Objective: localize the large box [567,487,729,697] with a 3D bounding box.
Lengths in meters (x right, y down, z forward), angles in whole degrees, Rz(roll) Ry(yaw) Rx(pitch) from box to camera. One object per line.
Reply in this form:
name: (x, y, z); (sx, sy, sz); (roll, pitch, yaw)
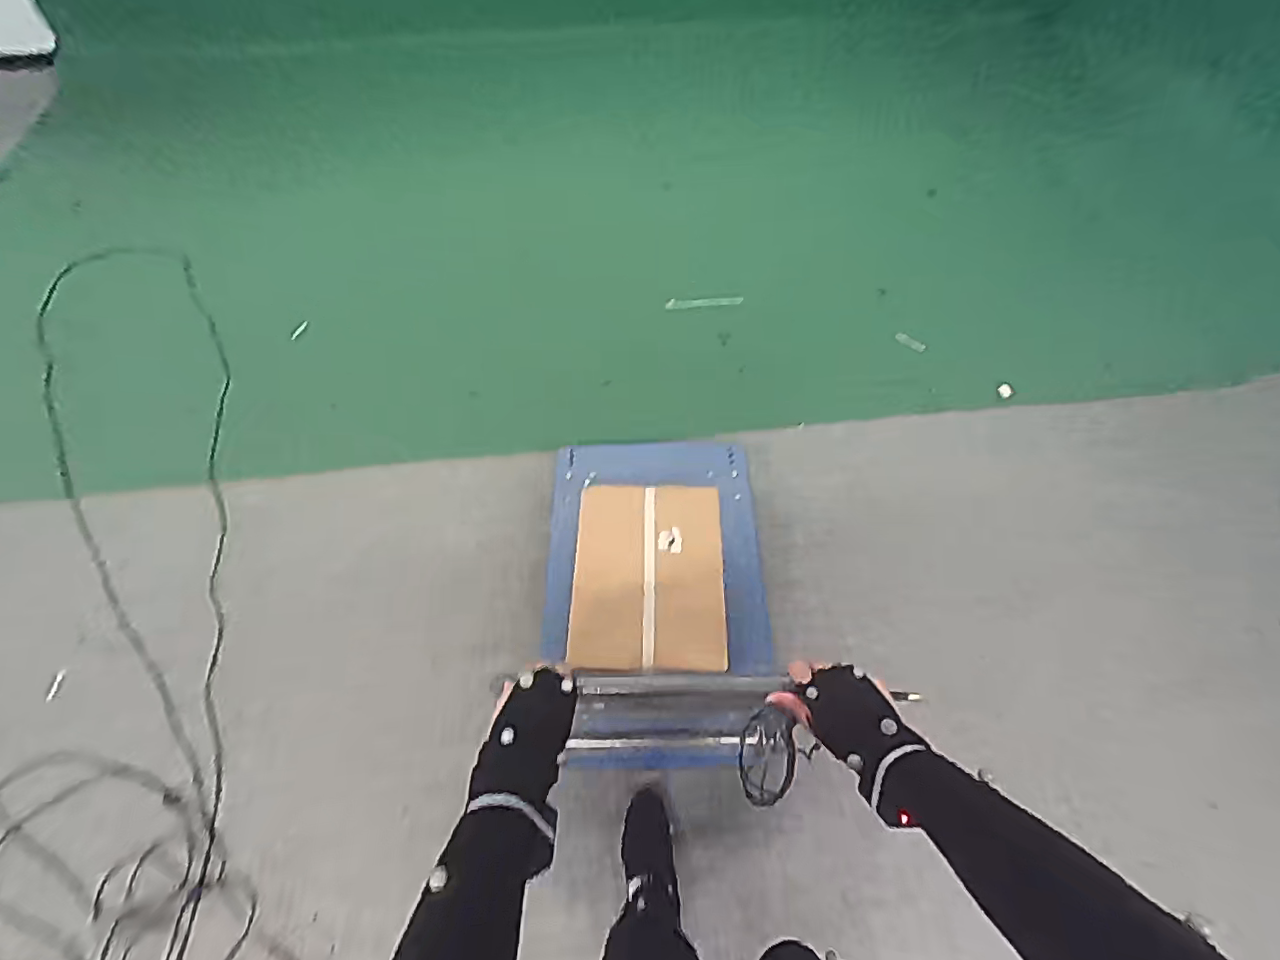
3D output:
large box: (0.019, 0.266, 1.250); (0.320, 0.320, 0.408); (1, 58, 0)
